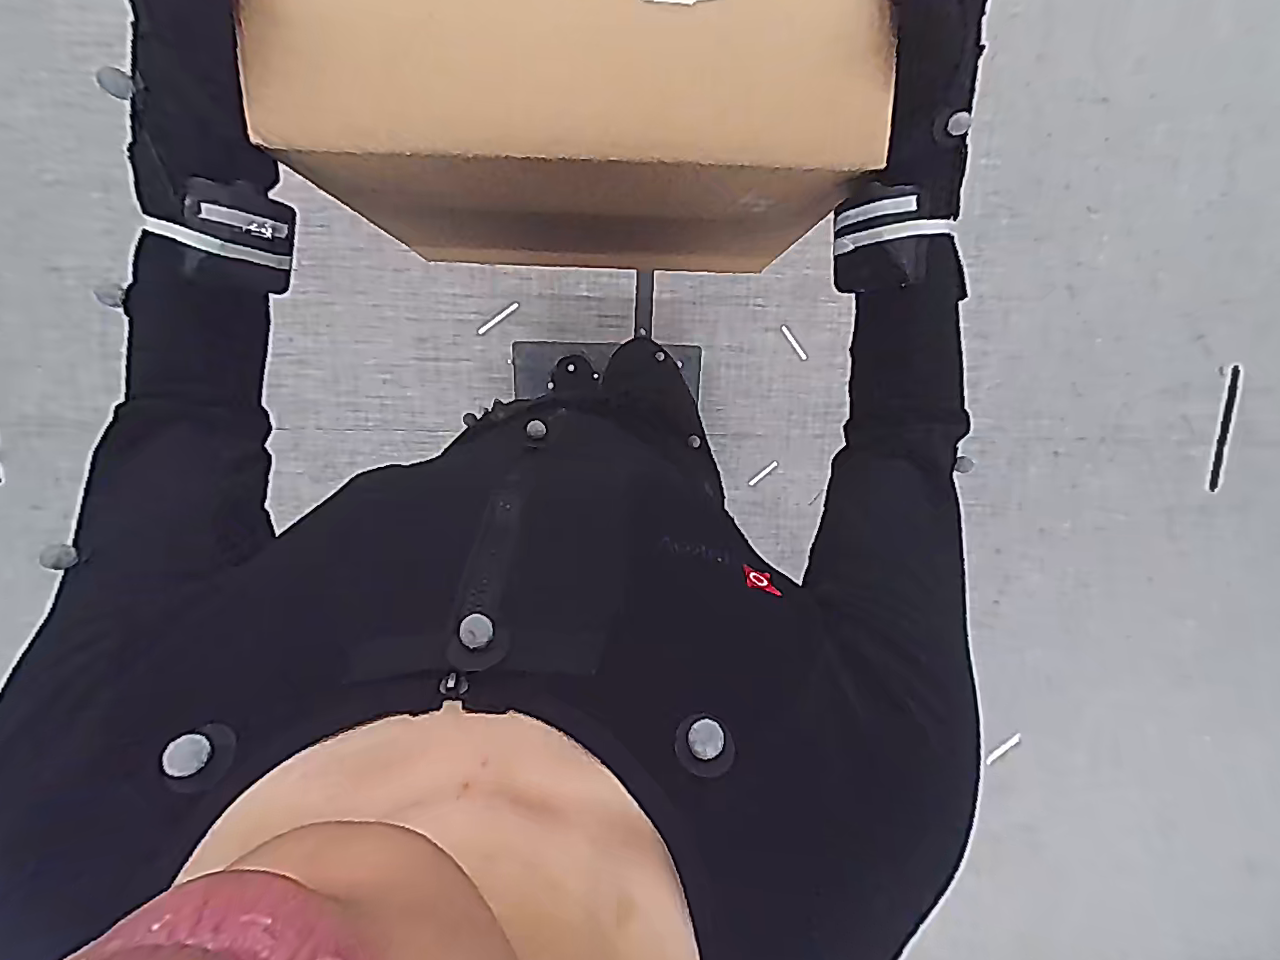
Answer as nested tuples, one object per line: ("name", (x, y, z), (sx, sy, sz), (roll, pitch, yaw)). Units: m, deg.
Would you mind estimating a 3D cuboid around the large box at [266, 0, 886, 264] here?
("large box", (-0.043, -0.391, 0.484), (0.408, 0.320, 0.320), (1, 99, -3))
